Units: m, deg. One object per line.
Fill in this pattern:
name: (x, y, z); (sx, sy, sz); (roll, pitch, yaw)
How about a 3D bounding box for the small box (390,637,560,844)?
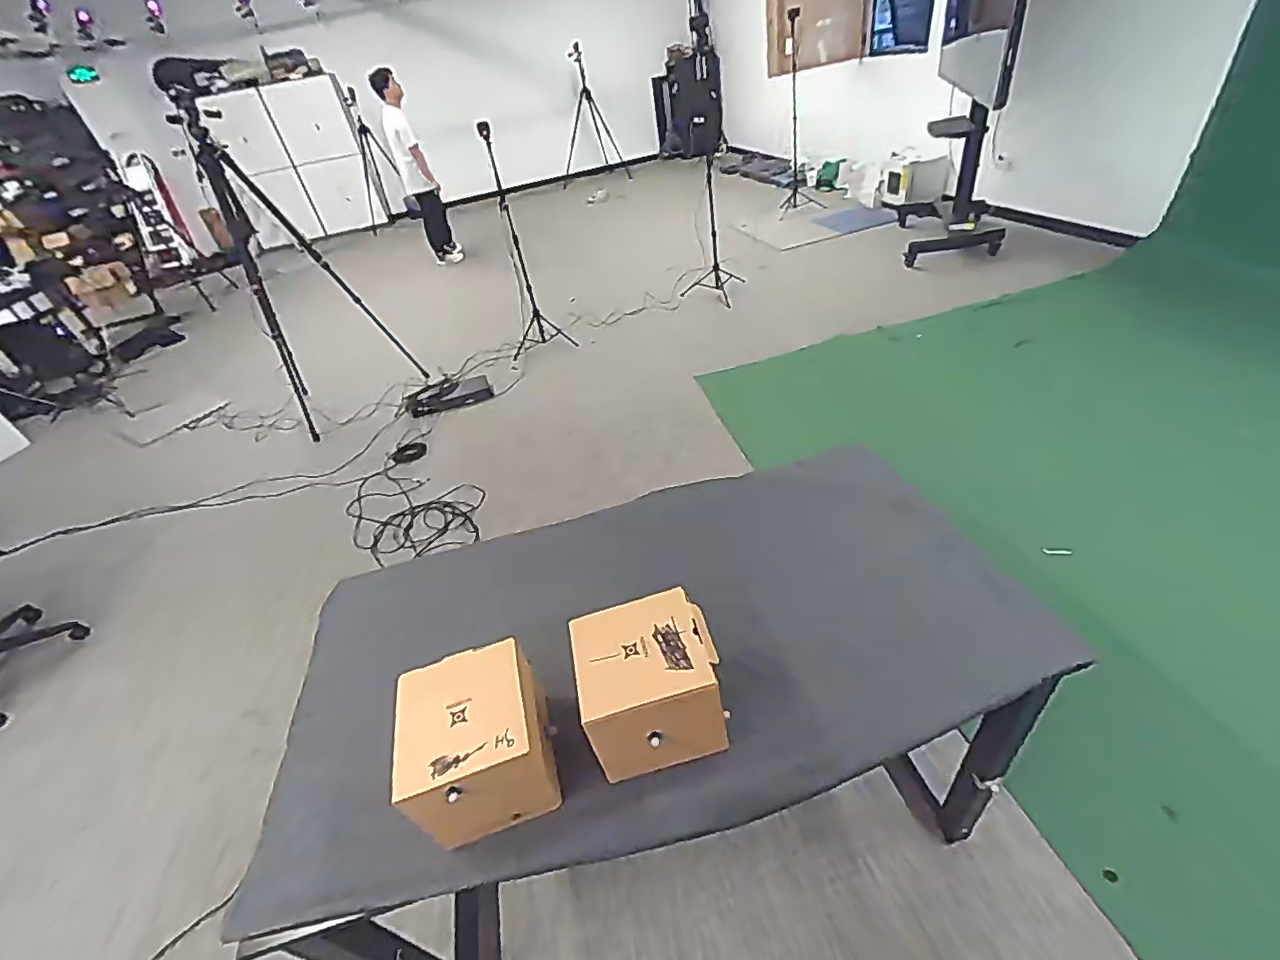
small box: (-0.219, 0.356, 0.745); (0.168, 0.176, 0.179); (-17, 39, -6)
